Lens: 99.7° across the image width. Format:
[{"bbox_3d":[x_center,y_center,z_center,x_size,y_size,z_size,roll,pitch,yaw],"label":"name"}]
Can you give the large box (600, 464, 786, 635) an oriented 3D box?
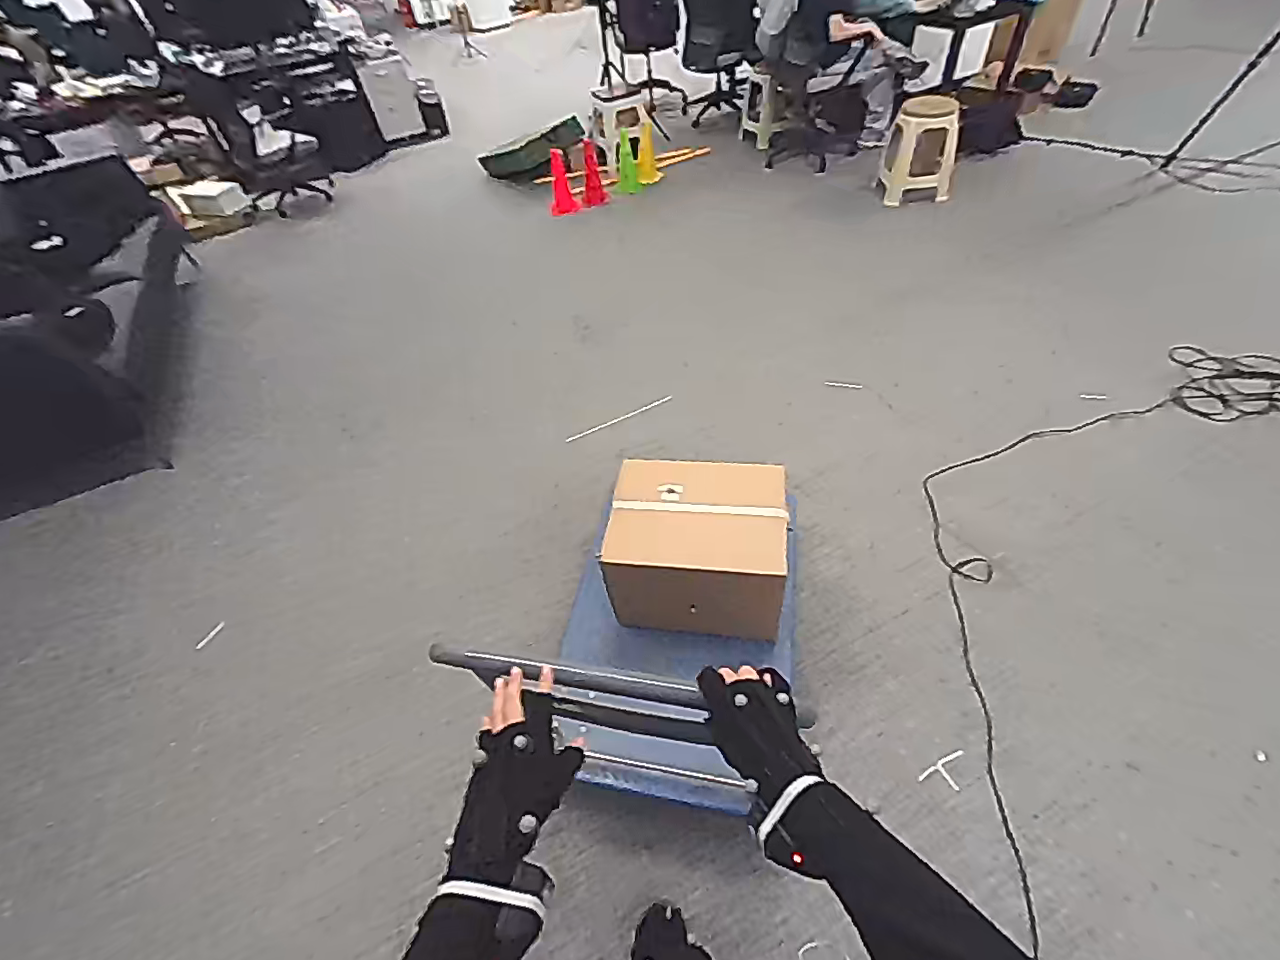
[{"bbox_3d":[0.150,0.174,1.361,0.408,0.320,0.320,2,48,12],"label":"large box"}]
